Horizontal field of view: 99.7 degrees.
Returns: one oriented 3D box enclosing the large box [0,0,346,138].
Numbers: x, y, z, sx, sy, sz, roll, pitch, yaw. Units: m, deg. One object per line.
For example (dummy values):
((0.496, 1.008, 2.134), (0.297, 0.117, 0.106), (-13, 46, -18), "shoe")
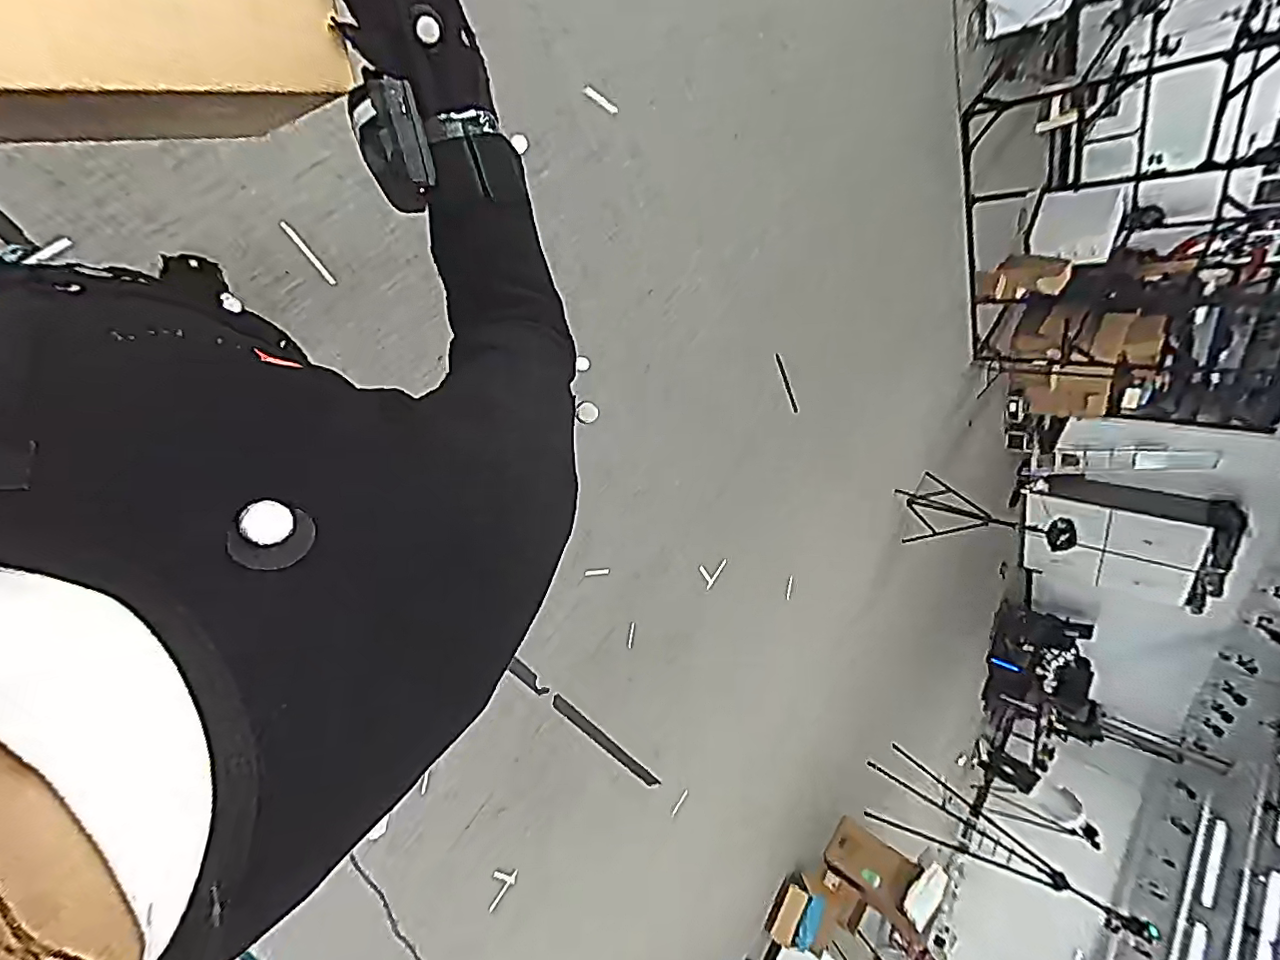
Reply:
((-0.442, -0.355, 0.258), (0.408, 0.320, 0.320), (-27, 128, -33), "large box")
